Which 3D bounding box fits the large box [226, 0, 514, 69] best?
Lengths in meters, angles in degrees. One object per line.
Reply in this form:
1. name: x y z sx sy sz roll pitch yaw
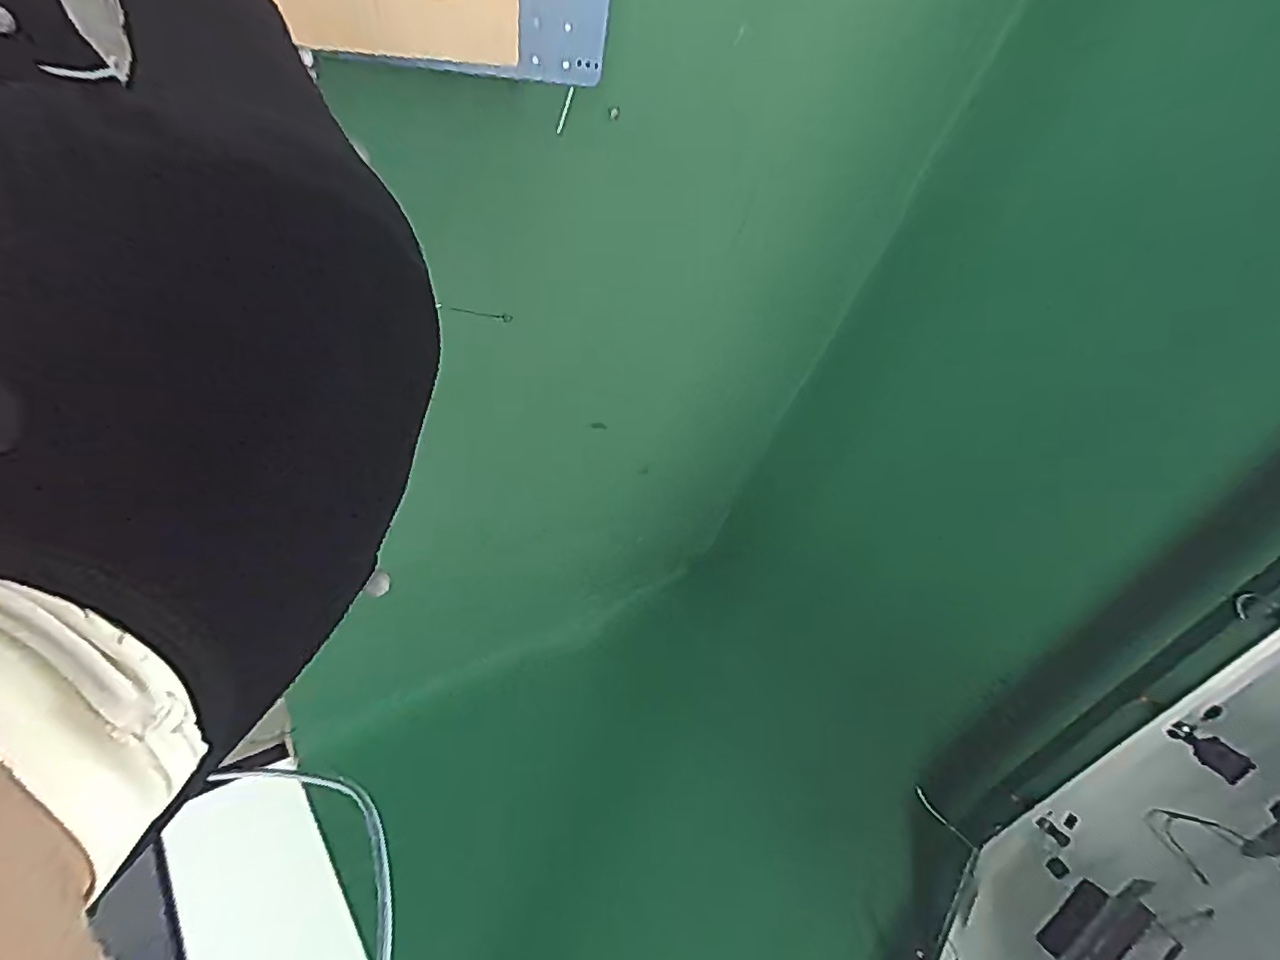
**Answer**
1. large box: -0.455 -0.889 0.866 0.408 0.320 0.320 -20 140 -31
